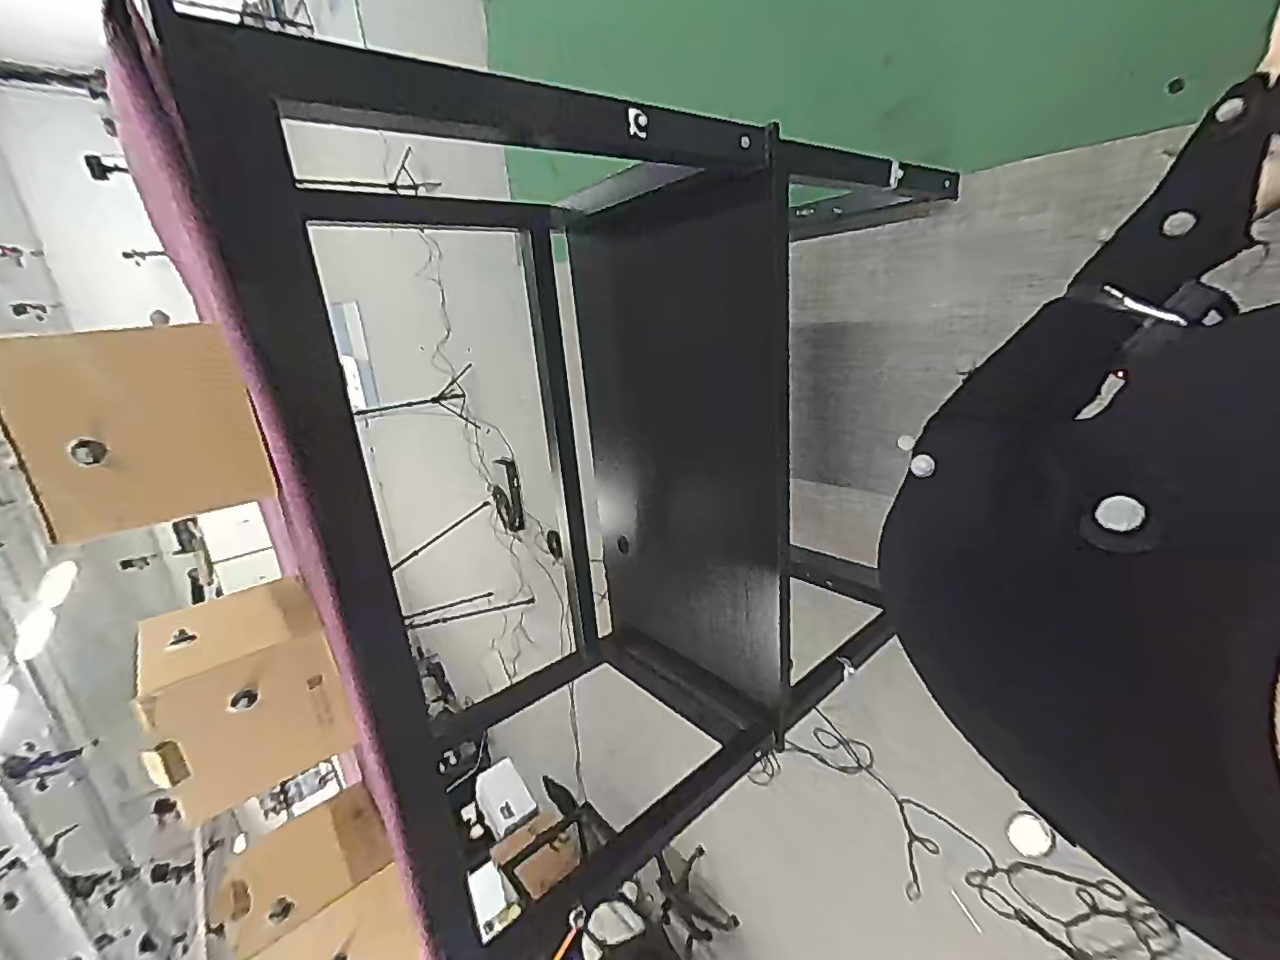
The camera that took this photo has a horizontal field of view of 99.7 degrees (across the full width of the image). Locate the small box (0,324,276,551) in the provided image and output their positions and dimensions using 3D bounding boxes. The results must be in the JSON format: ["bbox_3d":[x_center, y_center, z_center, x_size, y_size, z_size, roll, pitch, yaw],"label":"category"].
[{"bbox_3d":[-0.488,-0.055,0.542,0.168,0.176,0.179,16,117,51],"label":"small box"}]

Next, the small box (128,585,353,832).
[{"bbox_3d":[-0.451,0.243,0.629,0.179,0.176,0.168,18,117,48],"label":"small box"}]
